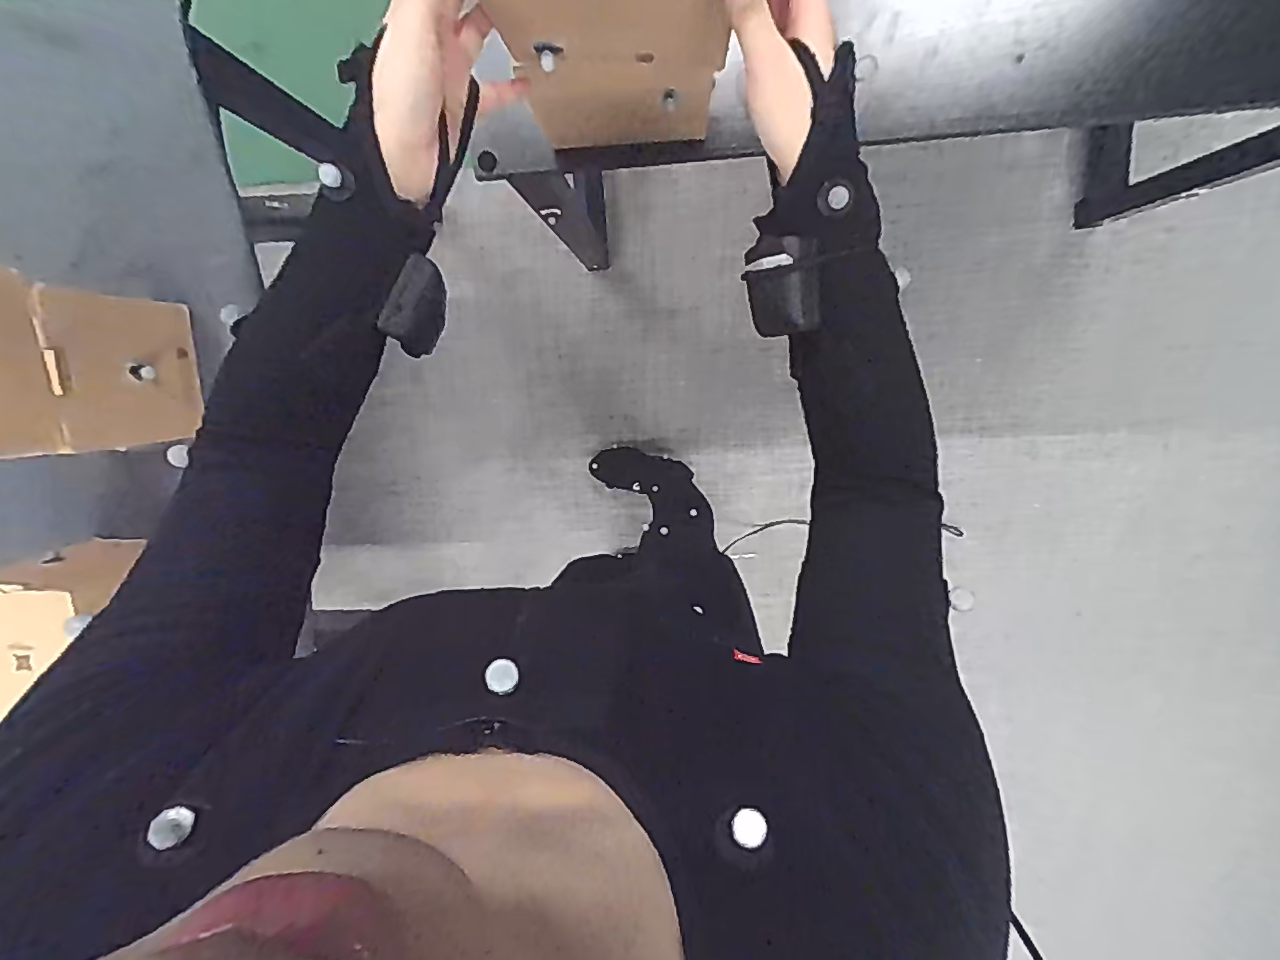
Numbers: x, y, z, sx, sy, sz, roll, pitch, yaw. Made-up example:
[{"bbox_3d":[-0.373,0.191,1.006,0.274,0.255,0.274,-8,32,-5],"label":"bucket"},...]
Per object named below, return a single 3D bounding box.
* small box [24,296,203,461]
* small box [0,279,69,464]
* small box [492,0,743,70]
[{"bbox_3d":[-0.648,-0.119,0.620,0.179,0.176,0.168,1,103,5],"label":"small box"},{"bbox_3d":[-0.663,-0.094,0.459,0.168,0.176,0.179,-1,103,6],"label":"small box"},{"bbox_3d":[-0.011,-0.379,0.321,0.168,0.176,0.179,3,105,2],"label":"small box"}]
